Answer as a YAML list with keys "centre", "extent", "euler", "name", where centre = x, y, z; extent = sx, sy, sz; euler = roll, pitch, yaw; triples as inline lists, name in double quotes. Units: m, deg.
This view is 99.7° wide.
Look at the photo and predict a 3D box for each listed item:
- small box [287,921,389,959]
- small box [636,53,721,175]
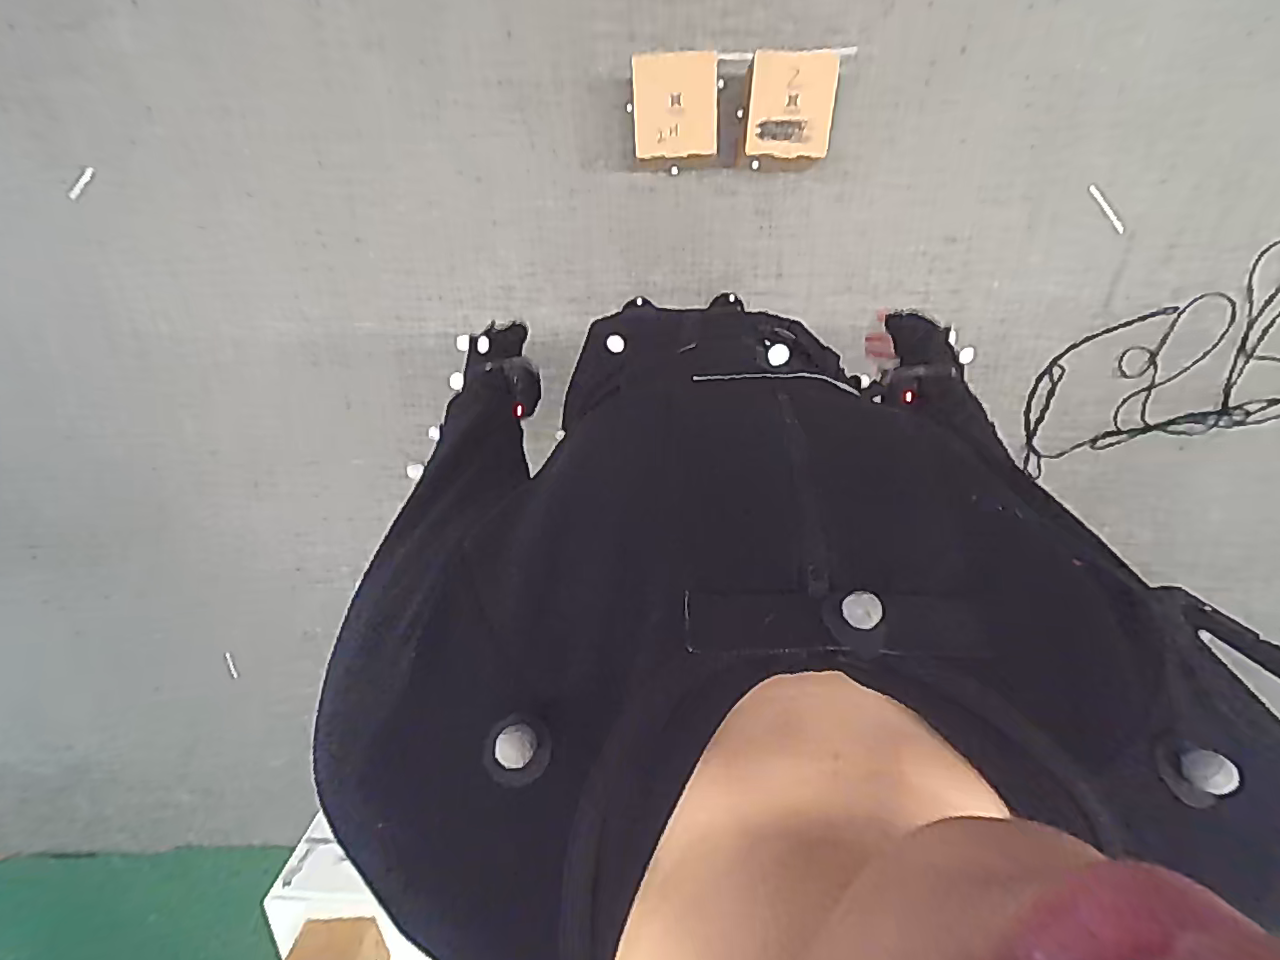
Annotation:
- centre: [-0.719, 1.163, 1.251]
  extent: [0.179, 0.176, 0.168]
  euler: [-4, 111, 3]
  name: "small box"
- centre: [0.078, -0.760, 1.138]
  extent: [0.168, 0.176, 0.179]
  euler: [-1, 111, 3]
  name: "small box"
